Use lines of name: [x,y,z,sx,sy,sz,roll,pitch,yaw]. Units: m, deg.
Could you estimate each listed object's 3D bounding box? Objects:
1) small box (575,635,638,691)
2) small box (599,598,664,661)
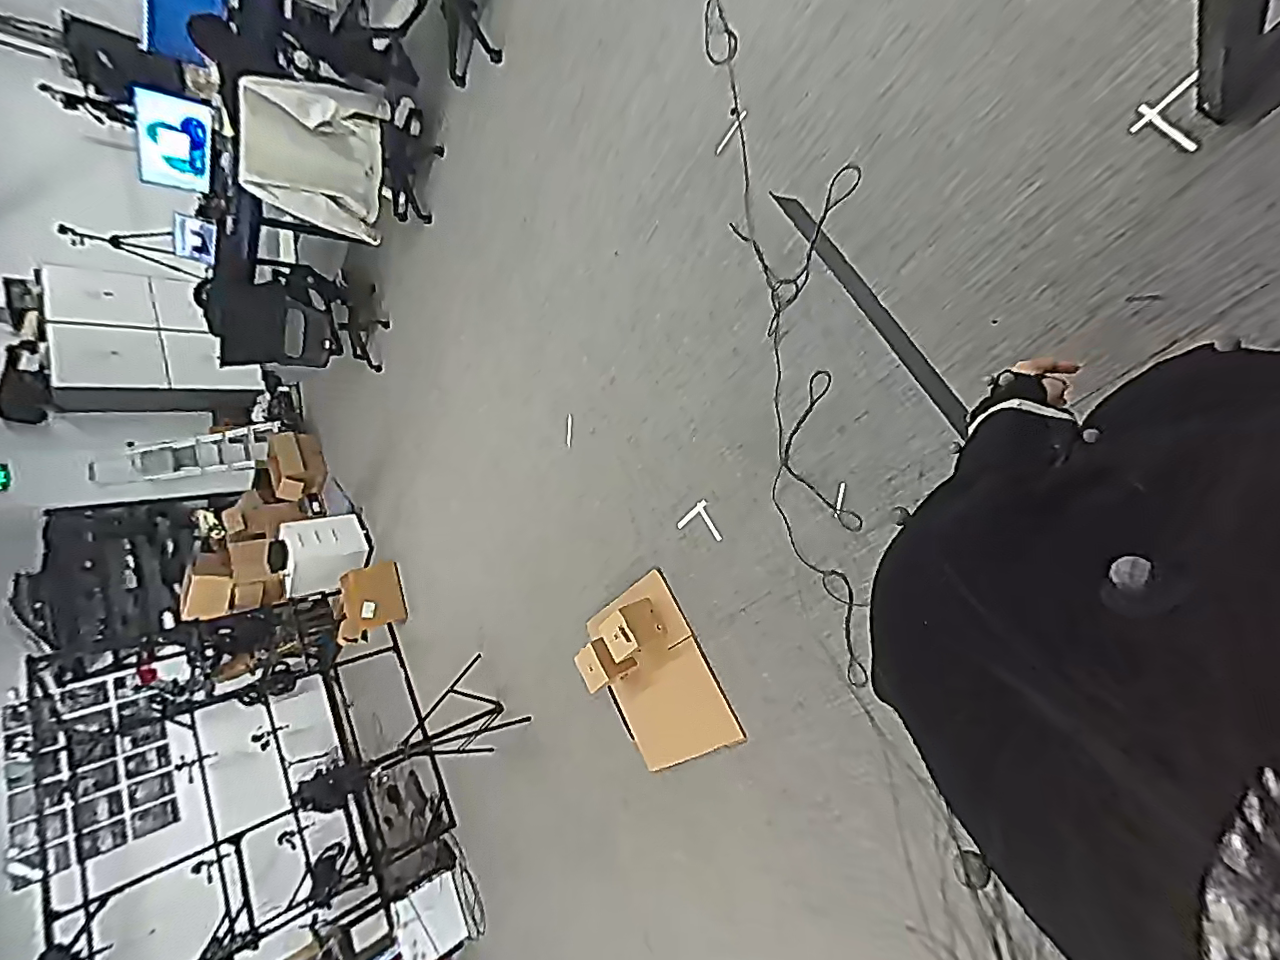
small box: [-0.143,0.772,2.326,0.179,0.176,0.168,56,132,23]
small box: [-0.027,0.596,2.175,0.179,0.176,0.168,-50,62,38]
